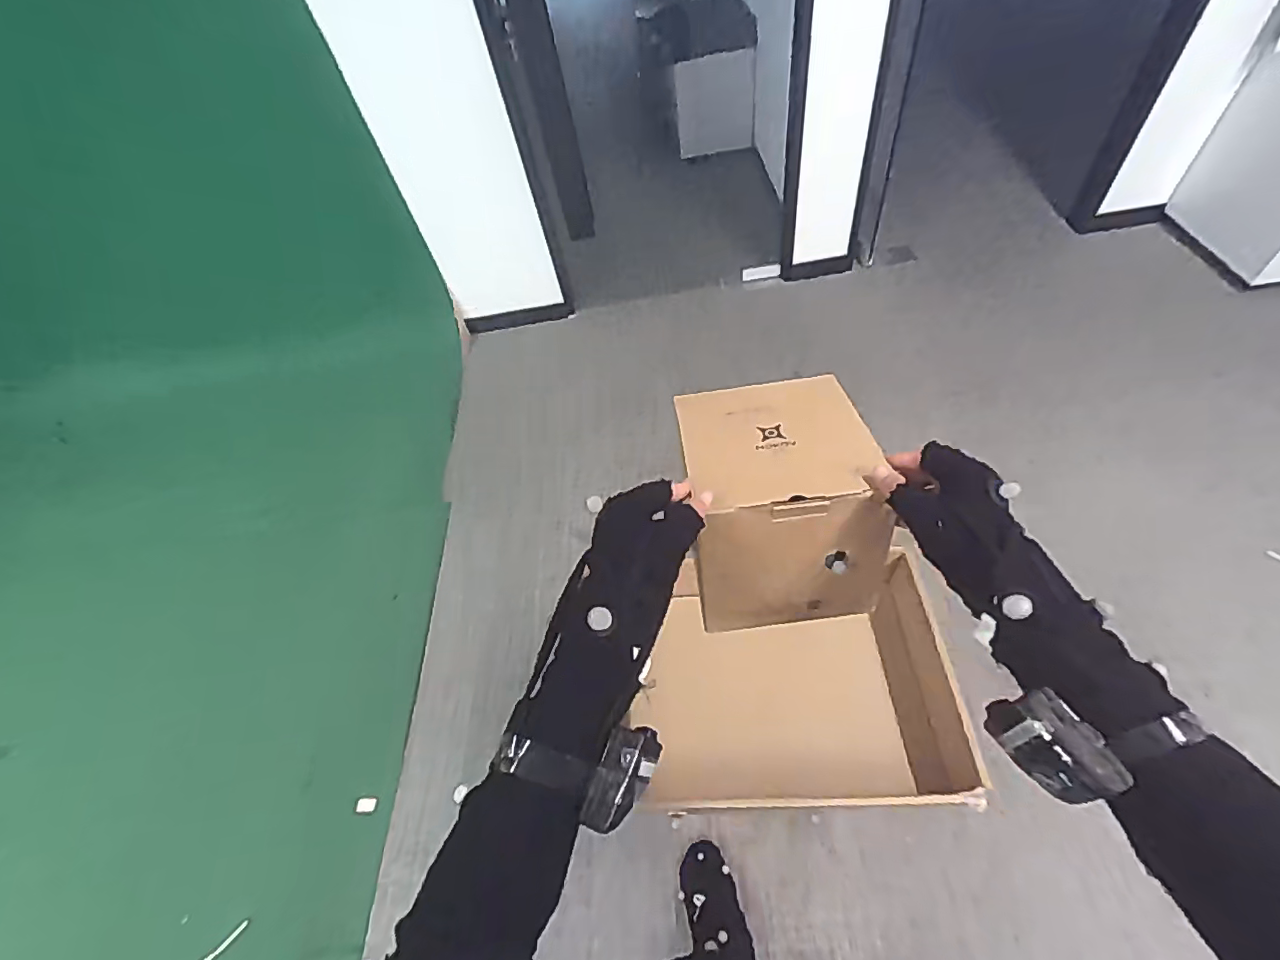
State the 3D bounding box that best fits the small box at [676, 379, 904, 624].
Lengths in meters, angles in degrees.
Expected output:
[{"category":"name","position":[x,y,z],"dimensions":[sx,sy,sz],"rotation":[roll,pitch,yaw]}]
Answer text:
[{"category":"small box","position":[0.131,0.025,0.532],"dimensions":[0.168,0.176,0.179],"rotation":[-7,39,2]}]
